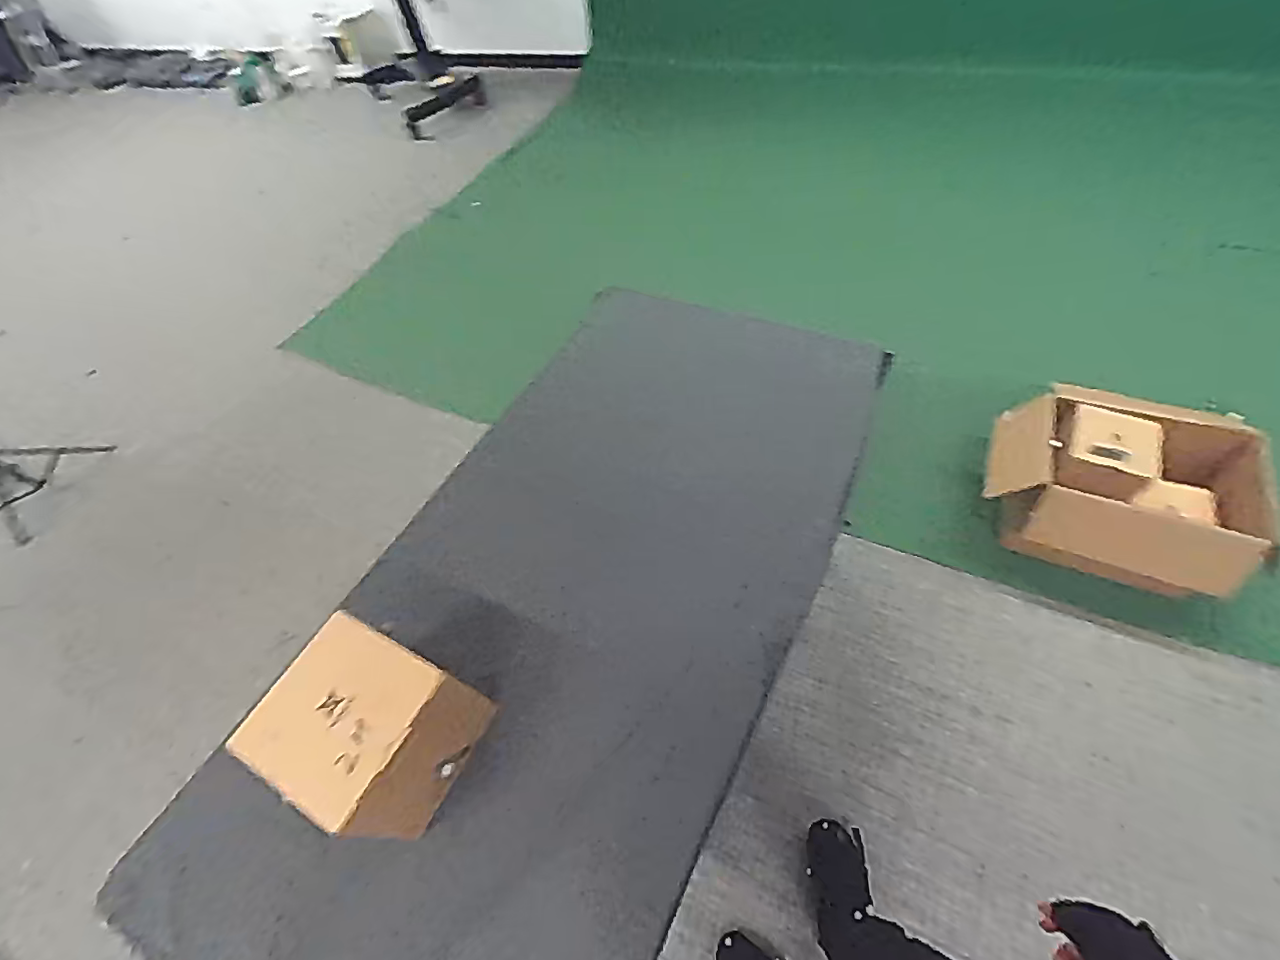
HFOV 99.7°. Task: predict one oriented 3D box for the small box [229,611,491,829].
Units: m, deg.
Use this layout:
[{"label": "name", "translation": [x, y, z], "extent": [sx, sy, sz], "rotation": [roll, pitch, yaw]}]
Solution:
[{"label": "small box", "translation": [-0.312, 0.288, 0.639], "extent": [0.179, 0.176, 0.168], "rotation": [20, 61, 21]}]
